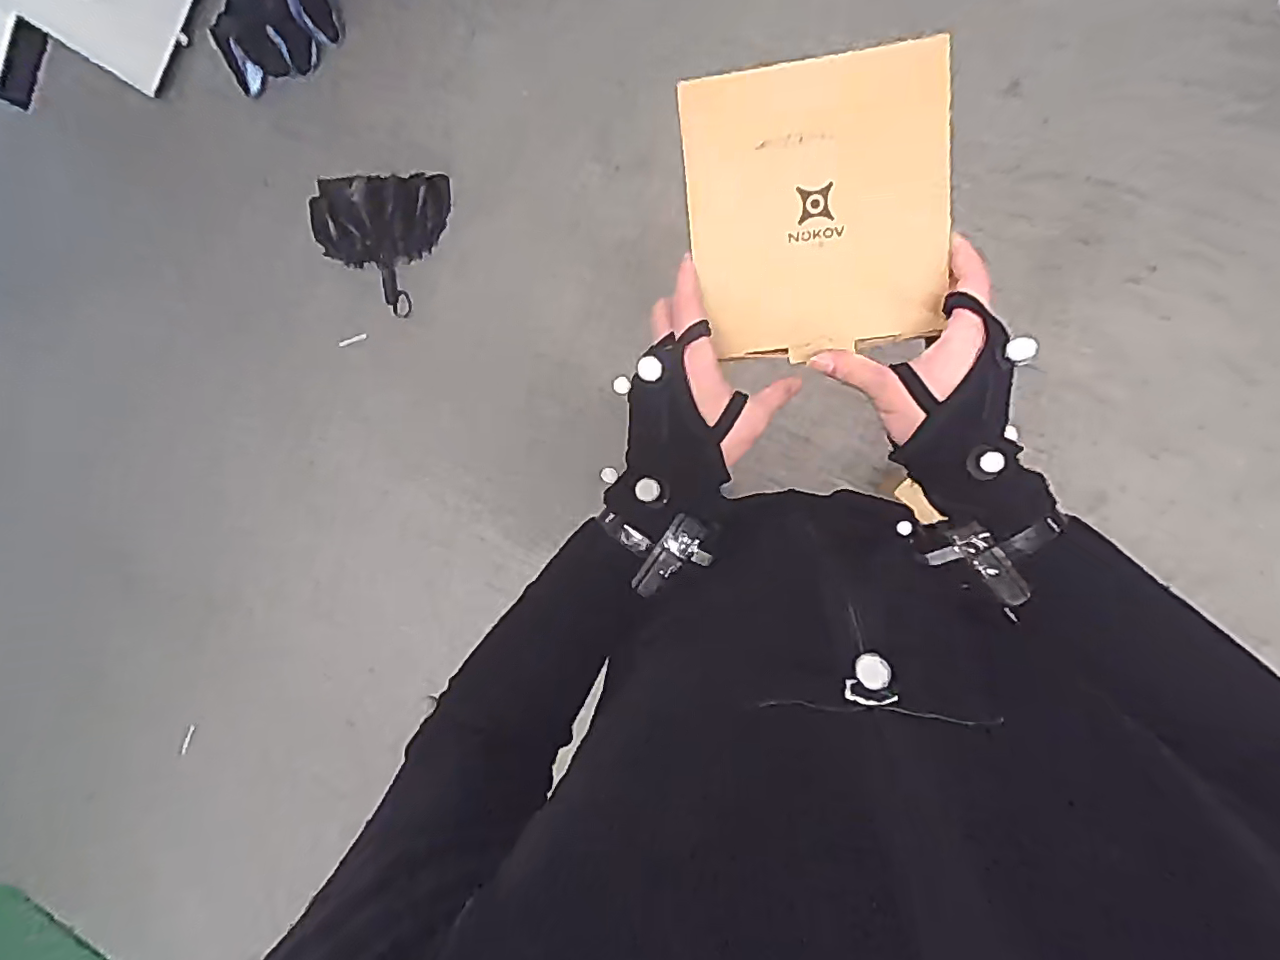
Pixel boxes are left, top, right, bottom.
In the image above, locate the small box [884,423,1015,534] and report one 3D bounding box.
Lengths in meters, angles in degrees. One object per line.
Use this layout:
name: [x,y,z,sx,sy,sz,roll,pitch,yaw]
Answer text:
small box: [0.673,-0.004,1.204,0.168,0.176,0.179,43,100,8]
